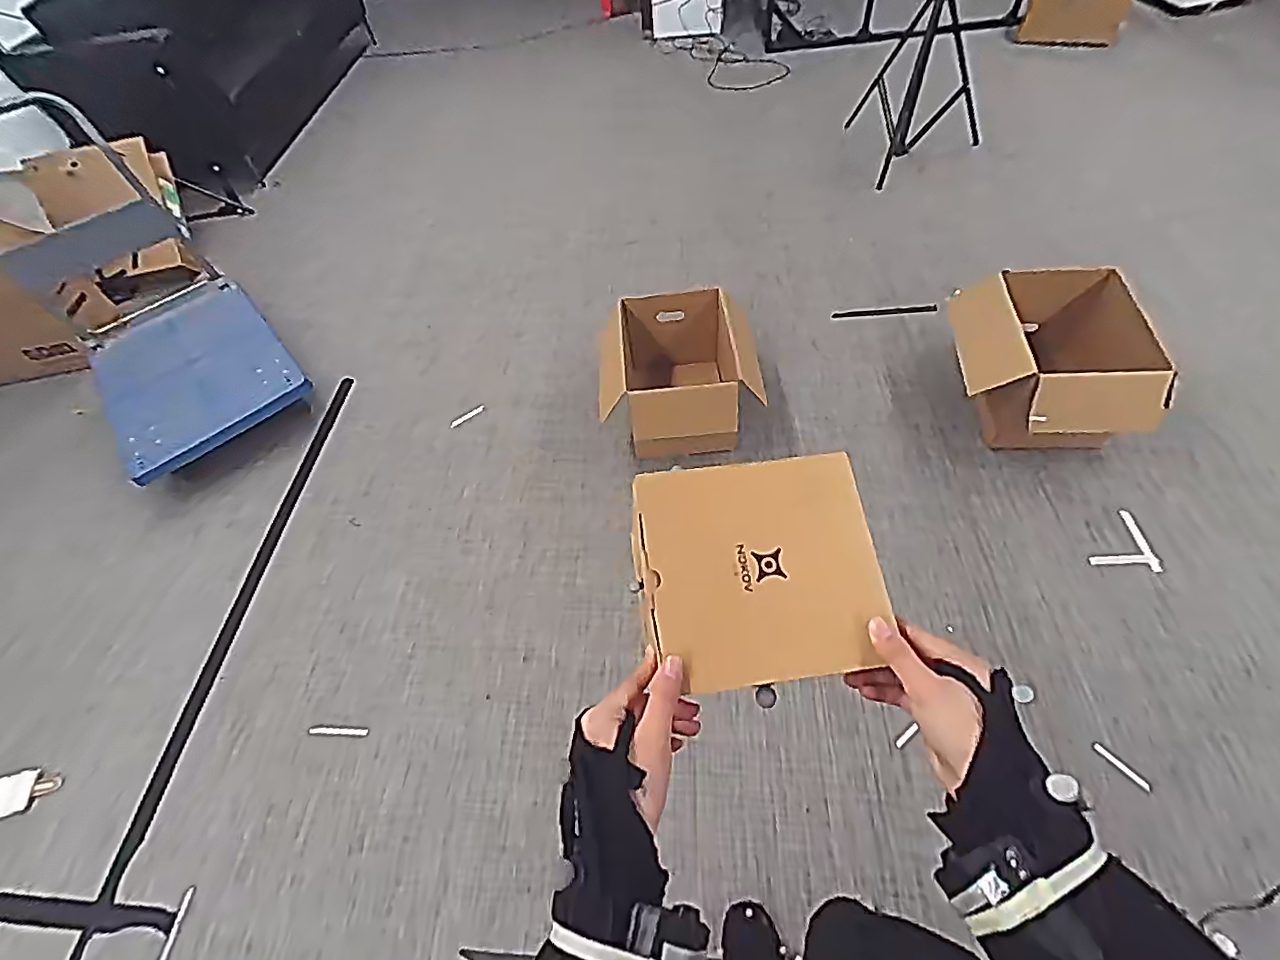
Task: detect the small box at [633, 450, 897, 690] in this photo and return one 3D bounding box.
[{"bbox_3d":[0.088,0.087,0.481,0.179,0.176,0.168,-7,70,-3],"label":"small box"}]
